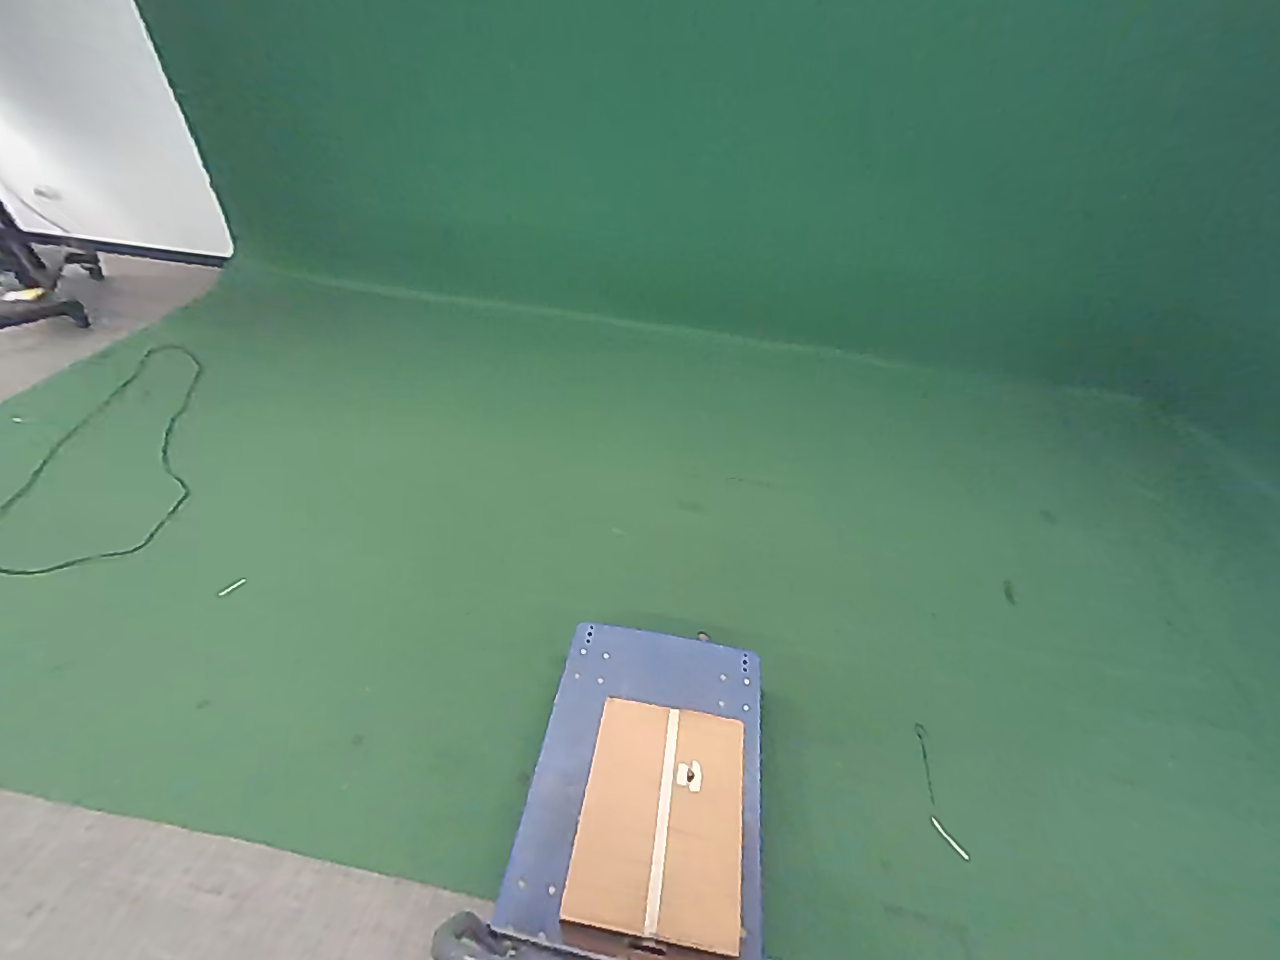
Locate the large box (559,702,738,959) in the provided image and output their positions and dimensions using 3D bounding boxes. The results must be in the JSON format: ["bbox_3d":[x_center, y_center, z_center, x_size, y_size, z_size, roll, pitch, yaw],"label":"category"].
[{"bbox_3d":[0.026,0.760,1.157,0.320,0.320,0.408,9,41,3],"label":"large box"}]
